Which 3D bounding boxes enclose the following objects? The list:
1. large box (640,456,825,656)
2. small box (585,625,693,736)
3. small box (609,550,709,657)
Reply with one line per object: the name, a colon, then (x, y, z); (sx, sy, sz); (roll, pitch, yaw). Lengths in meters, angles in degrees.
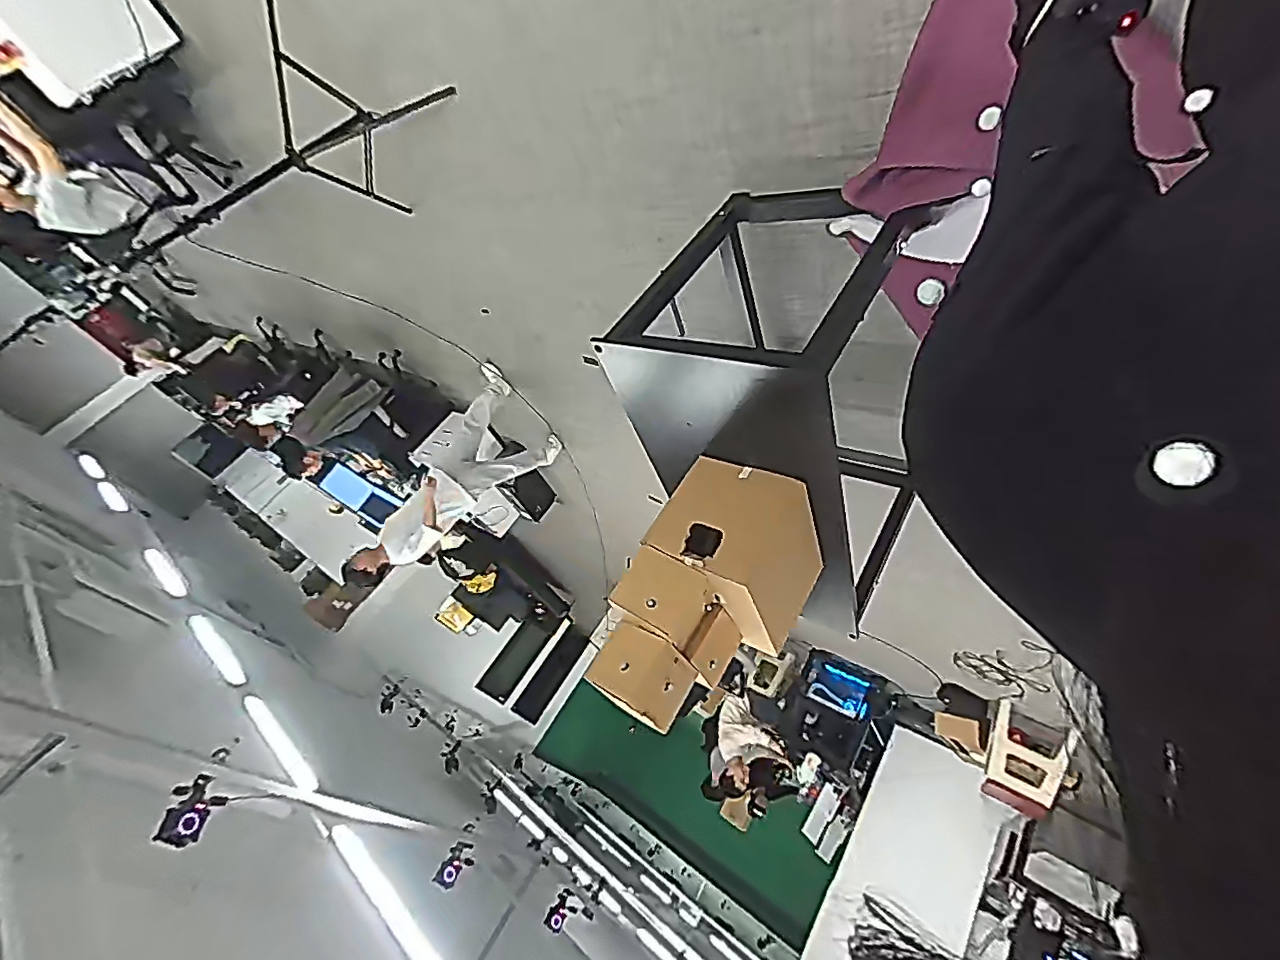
large box: (0.269, 0.200, 1.457); (0.320, 0.320, 0.408); (16, 149, 38)
small box: (0.006, 0.477, 1.308); (0.179, 0.176, 0.168); (7, 143, 48)
small box: (0.056, 0.297, 1.315); (0.179, 0.176, 0.168); (25, 155, 28)
